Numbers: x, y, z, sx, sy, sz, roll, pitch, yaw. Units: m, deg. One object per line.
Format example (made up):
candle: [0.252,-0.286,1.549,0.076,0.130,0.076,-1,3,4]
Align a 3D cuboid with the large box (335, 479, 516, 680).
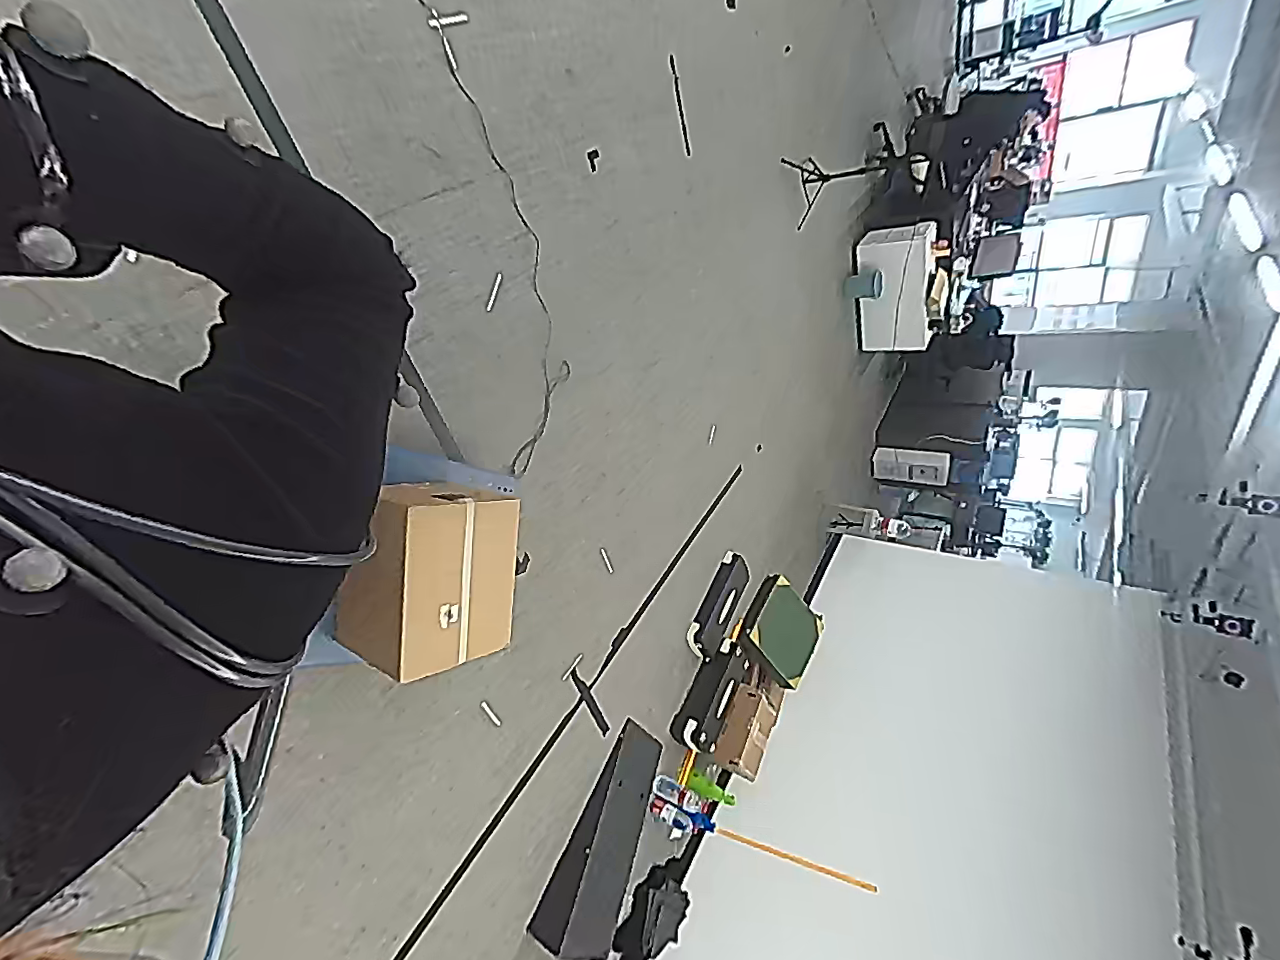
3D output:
large box: [-0.546,0.221,1.374,0.320,0.320,0.408,-2,100,-53]
